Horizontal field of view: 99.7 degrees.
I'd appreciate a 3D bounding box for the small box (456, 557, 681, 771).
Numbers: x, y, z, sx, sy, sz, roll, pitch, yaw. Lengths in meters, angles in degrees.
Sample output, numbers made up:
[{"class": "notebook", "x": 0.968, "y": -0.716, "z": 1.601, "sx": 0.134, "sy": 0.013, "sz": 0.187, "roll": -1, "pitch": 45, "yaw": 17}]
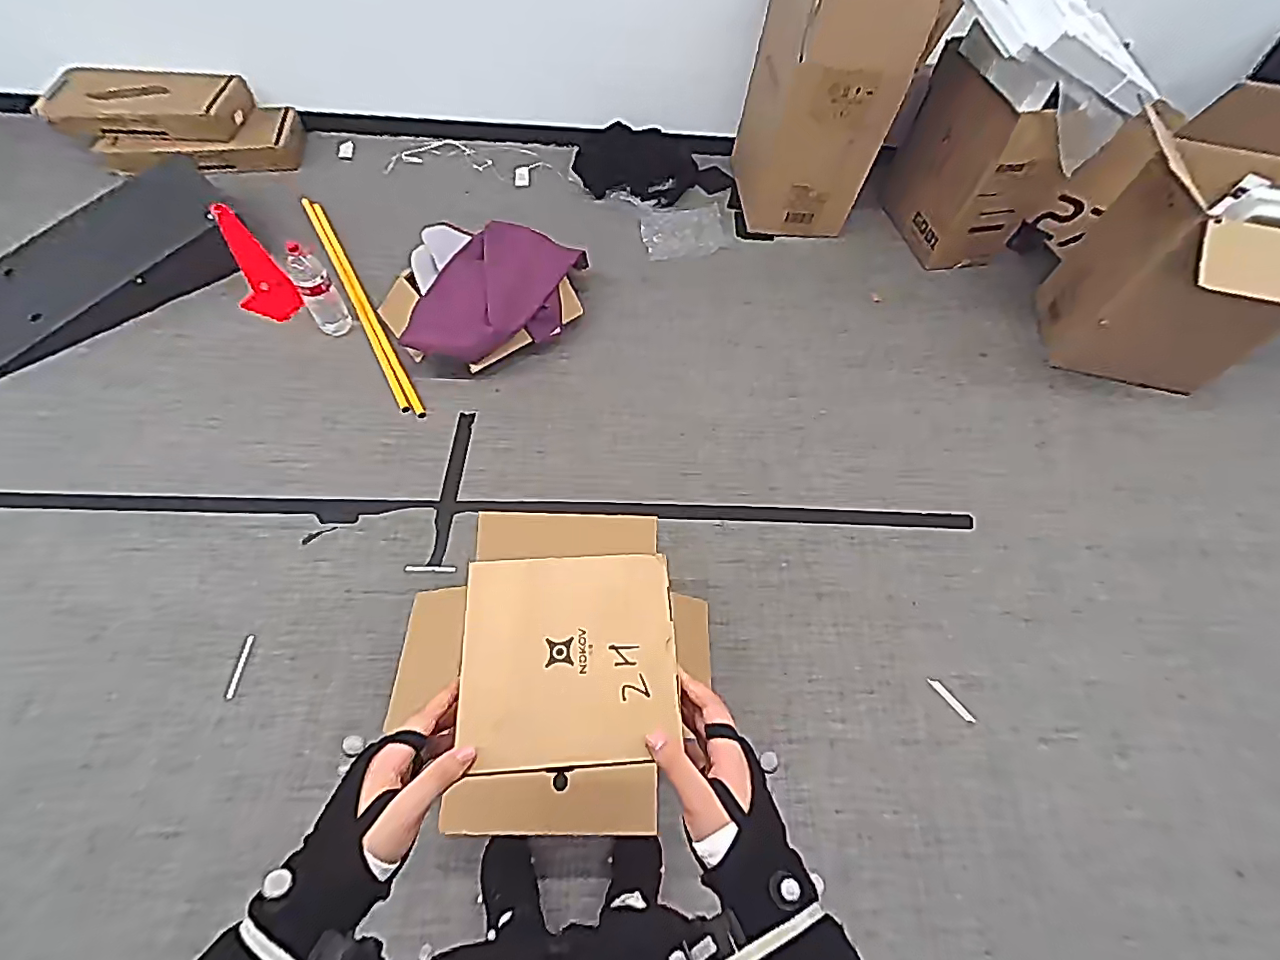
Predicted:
[{"class": "small box", "x": -0.063, "y": 0.182, "z": 0.520, "sx": 0.179, "sy": 0.176, "sz": 0.168, "roll": -1, "pitch": 63, "yaw": -6}]
